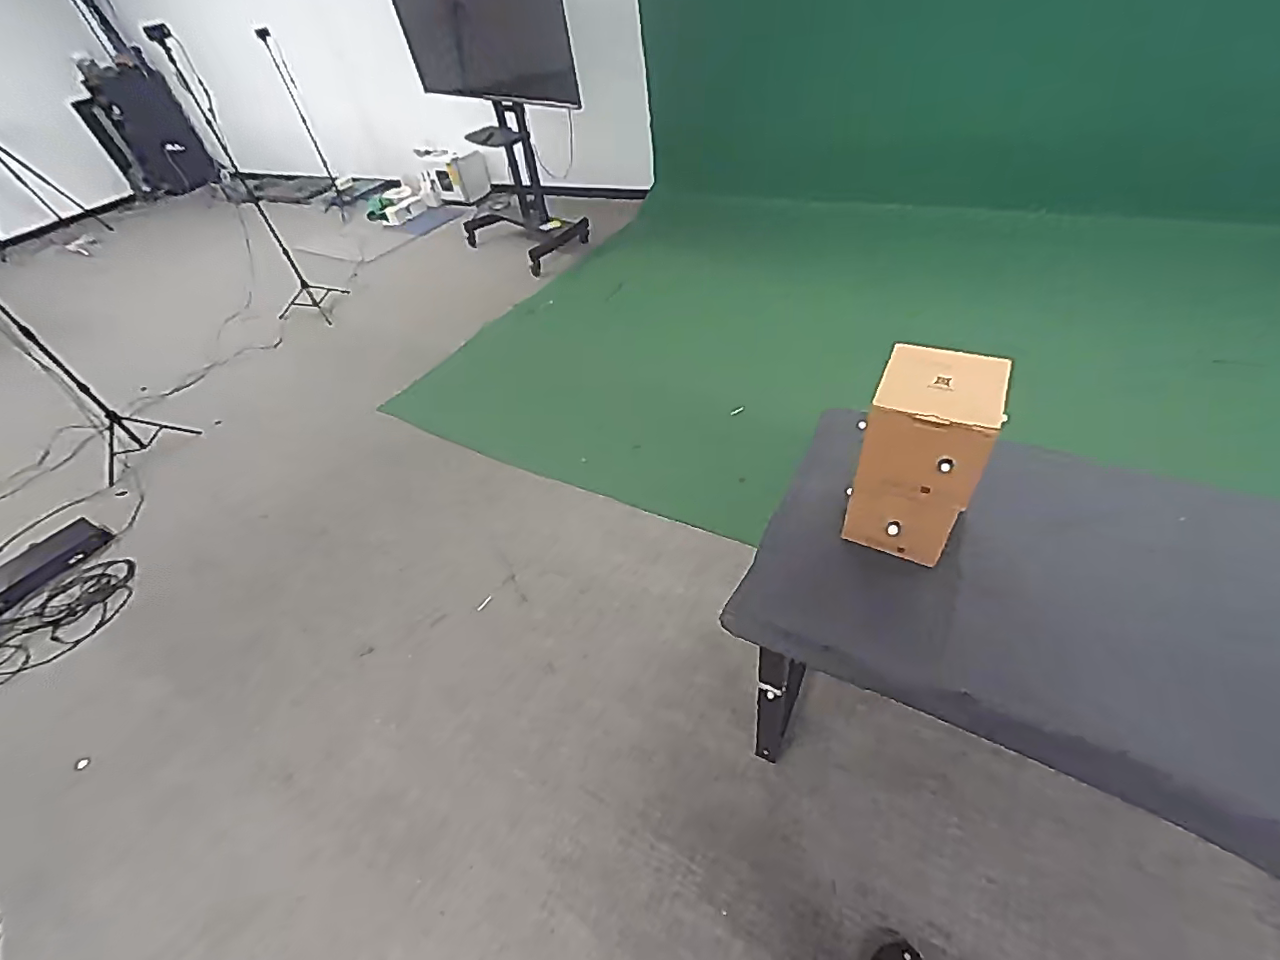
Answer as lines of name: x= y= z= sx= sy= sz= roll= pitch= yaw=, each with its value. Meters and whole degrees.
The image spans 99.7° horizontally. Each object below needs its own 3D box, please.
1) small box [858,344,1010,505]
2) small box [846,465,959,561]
small box: x=0.457 y=-0.087 z=0.856 sx=0.168 sy=0.176 sz=0.179 roll=17 pitch=50 yaw=24
small box: x=0.484 y=0.017 z=0.979 sx=0.168 sy=0.176 sz=0.179 roll=19 pitch=52 yaw=26
